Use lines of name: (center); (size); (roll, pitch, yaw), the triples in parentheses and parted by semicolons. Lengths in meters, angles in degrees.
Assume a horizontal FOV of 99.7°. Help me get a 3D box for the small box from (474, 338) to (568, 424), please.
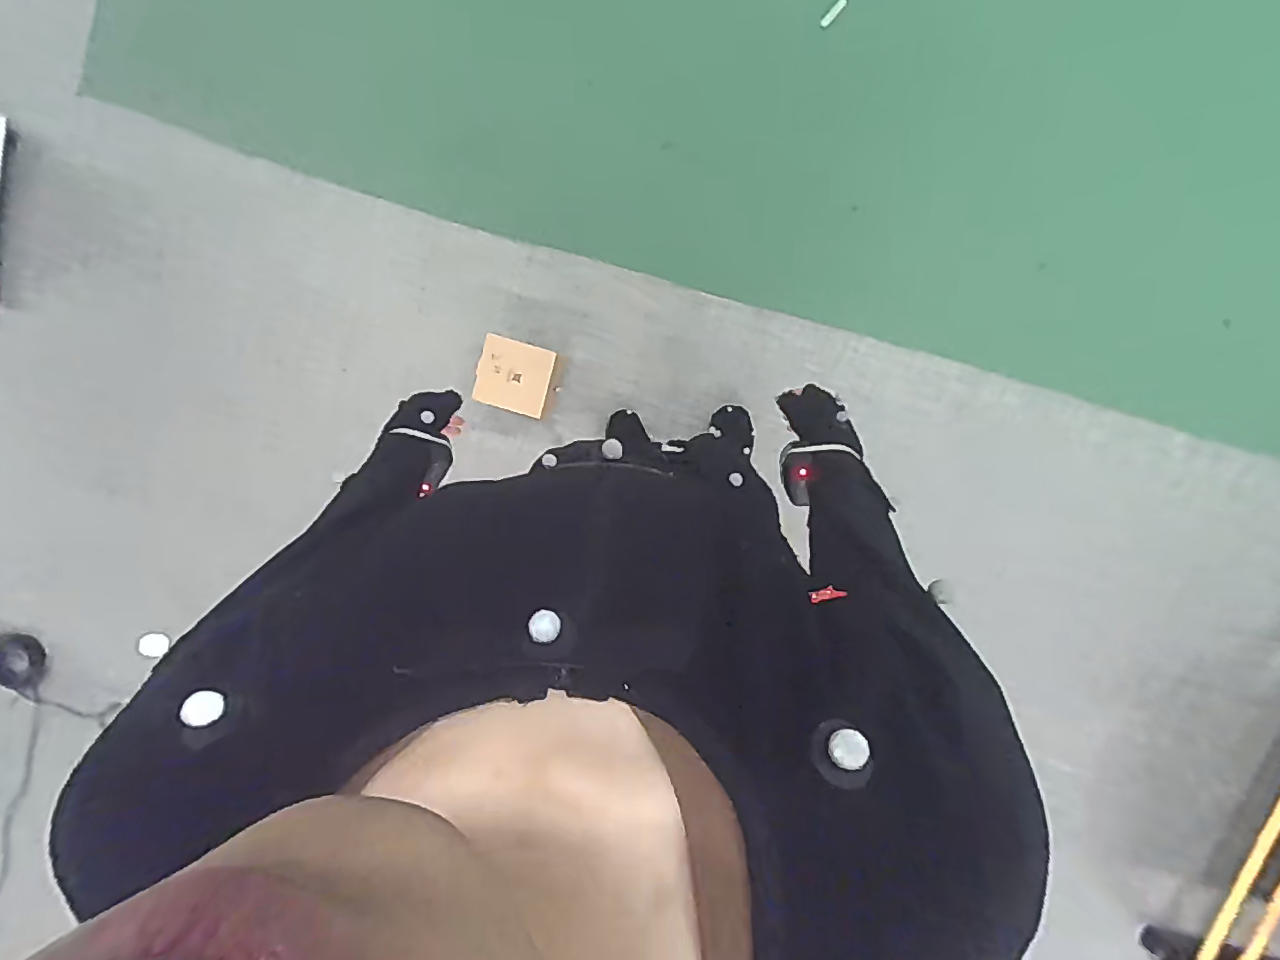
small box: (-0.291, -0.246, 1.363); (0.179, 0.176, 0.168); (16, 98, 0)
